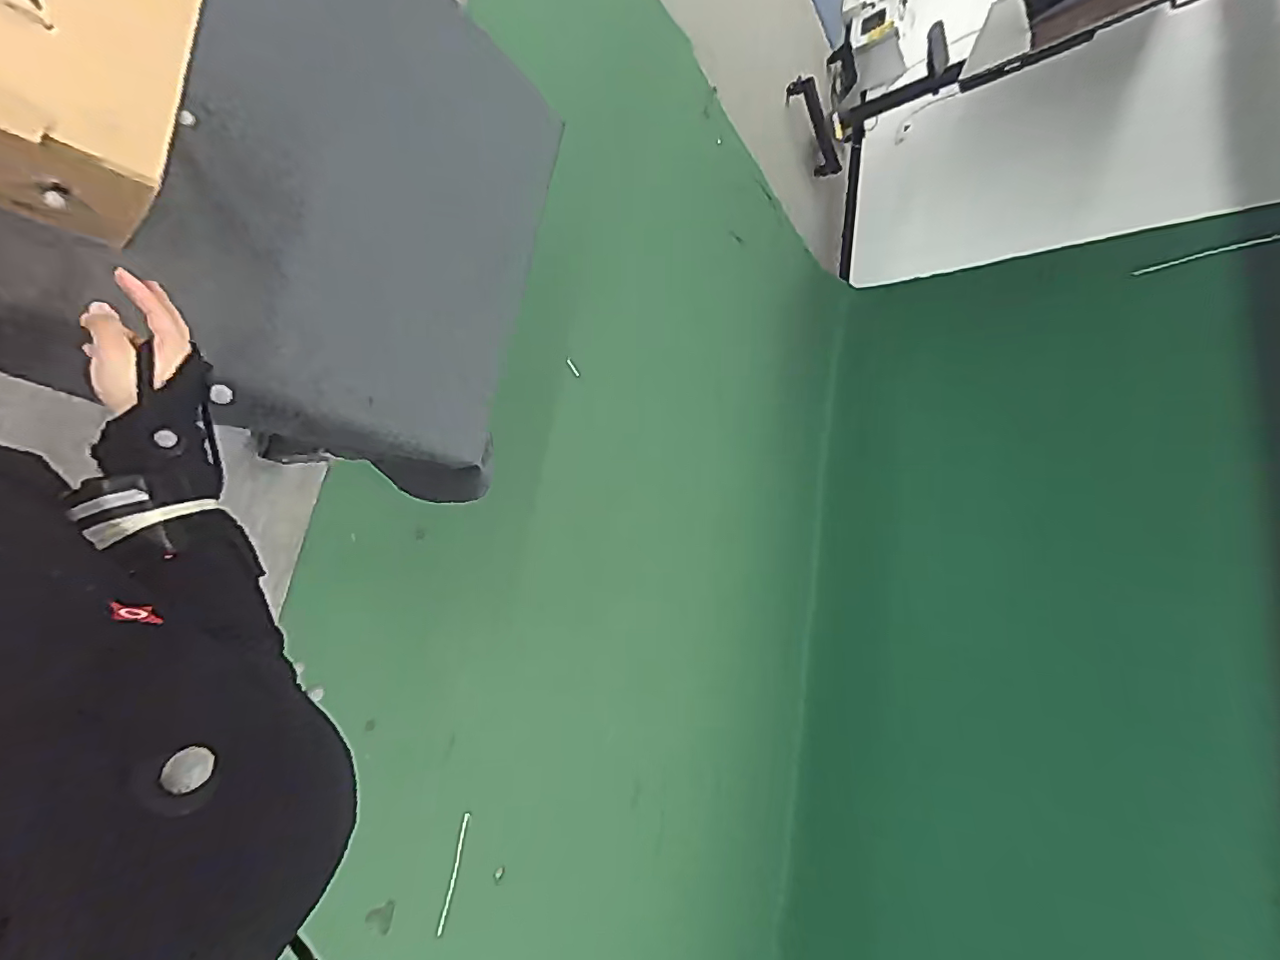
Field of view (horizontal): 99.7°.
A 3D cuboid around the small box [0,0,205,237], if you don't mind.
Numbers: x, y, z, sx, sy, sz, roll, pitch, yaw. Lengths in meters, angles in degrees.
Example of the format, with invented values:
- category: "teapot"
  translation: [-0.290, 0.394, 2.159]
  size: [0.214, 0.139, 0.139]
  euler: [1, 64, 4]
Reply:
- category: "small box"
  translation: [-0.452, -0.309, 0.390]
  size: [0.168, 0.176, 0.179]
  euler: [14, 78, -52]
